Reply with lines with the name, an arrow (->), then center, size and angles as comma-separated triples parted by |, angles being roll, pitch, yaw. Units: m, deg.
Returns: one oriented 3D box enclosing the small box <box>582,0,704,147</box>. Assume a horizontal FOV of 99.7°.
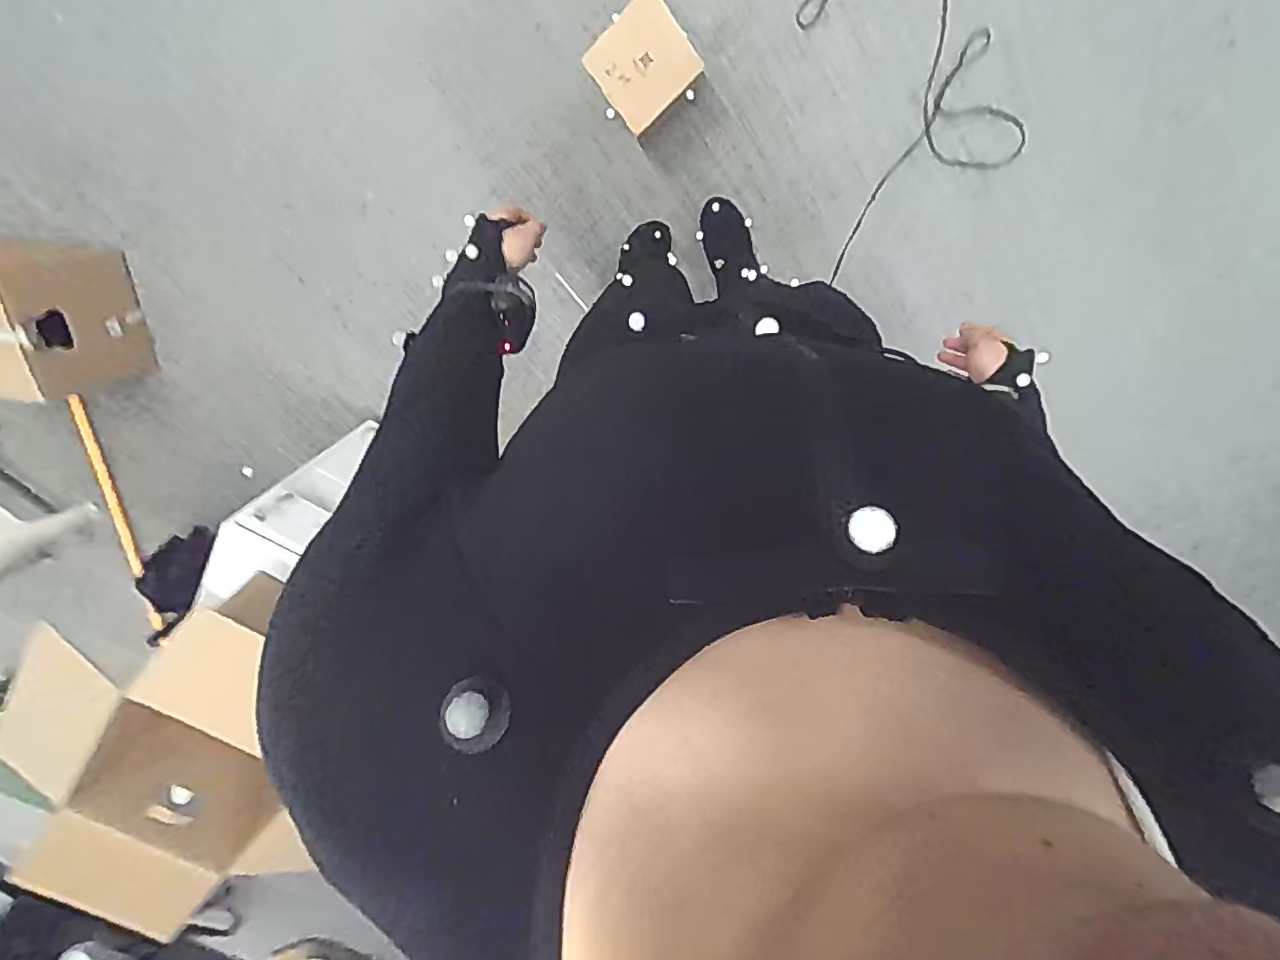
small box -> 0.007, -0.811, 1.089 | 0.179, 0.176, 0.168 | -37, 109, 20
